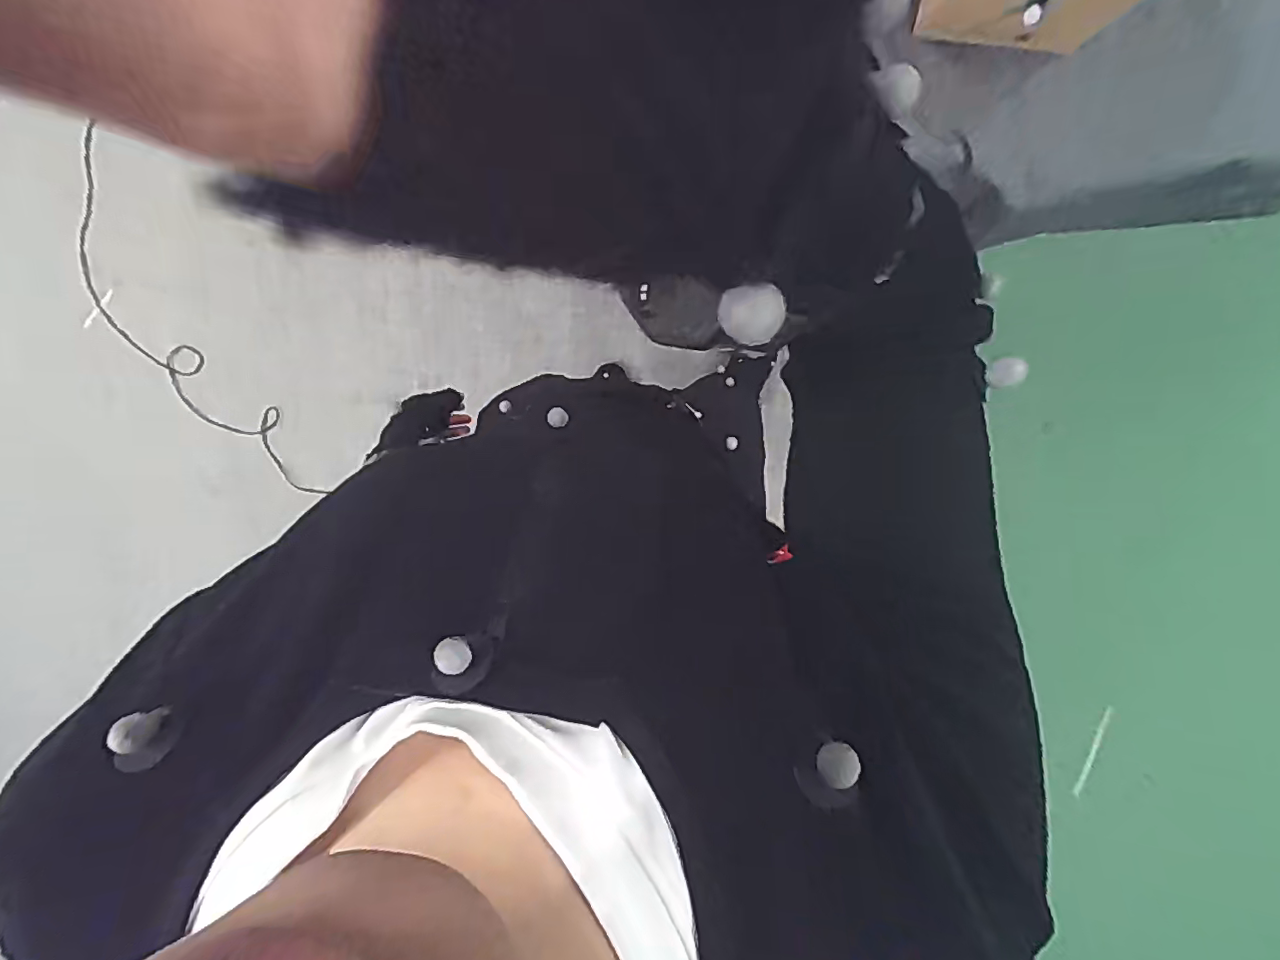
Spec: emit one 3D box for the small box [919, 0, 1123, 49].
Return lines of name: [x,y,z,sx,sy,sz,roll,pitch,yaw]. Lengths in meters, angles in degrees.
small box: [0.376,-0.526,0.479,0.168,0.176,0.179,8,105,2]
